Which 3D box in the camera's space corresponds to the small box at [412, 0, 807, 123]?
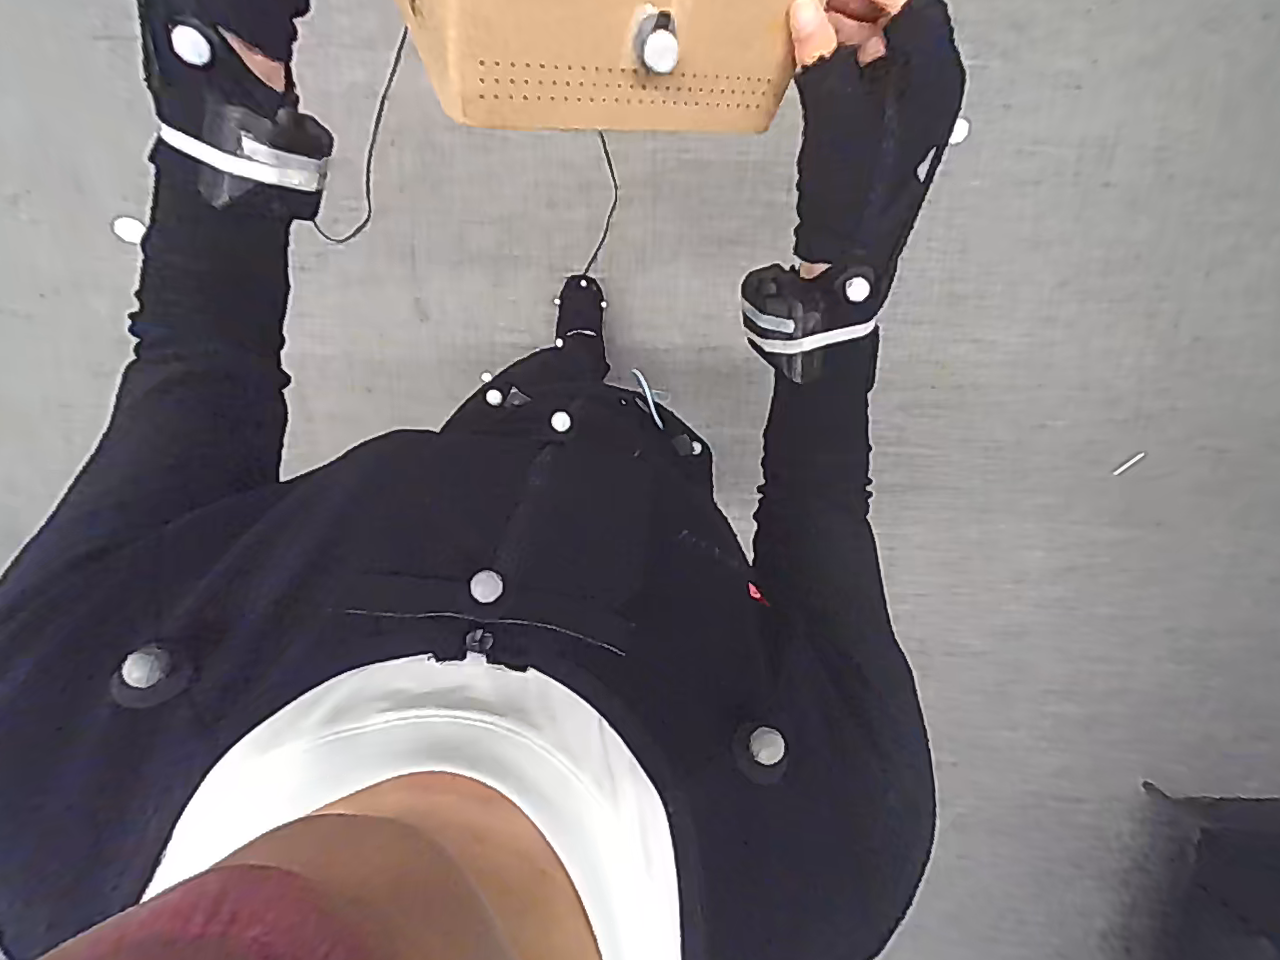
[{"bbox_3d":[-0.013,-0.288,0.235,0.179,0.176,0.168,-14,68,-23],"label":"small box"}]
